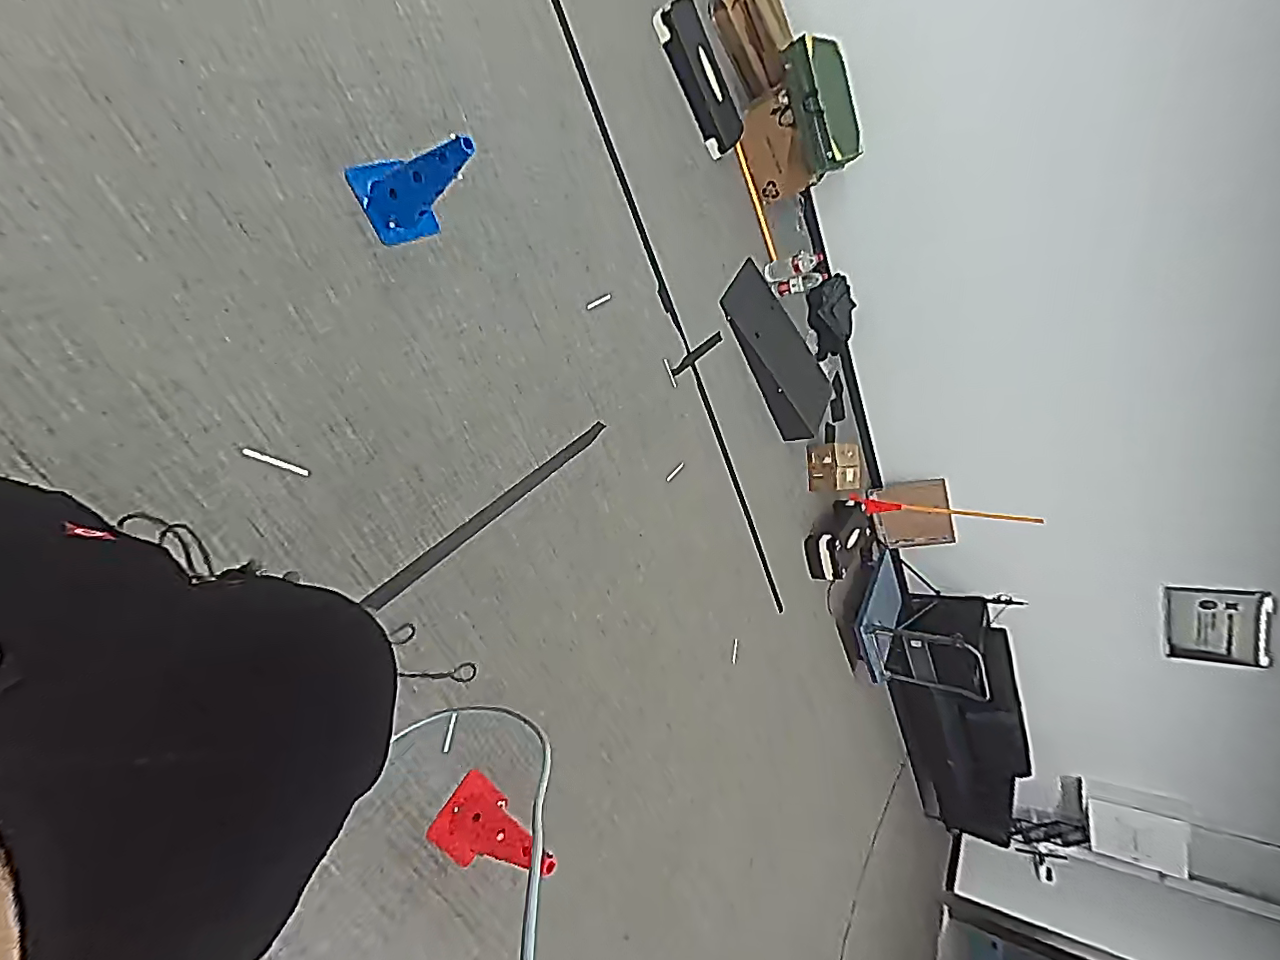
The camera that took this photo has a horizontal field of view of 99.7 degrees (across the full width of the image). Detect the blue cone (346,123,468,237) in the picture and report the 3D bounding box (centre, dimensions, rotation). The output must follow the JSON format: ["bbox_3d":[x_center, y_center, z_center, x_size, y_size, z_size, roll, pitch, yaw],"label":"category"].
[{"bbox_3d":[-0.543,-0.772,1.352,0.193,0.380,0.192,-44,119,-43],"label":"blue cone"}]

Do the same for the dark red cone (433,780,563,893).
[{"bbox_3d":[-0.343,0.975,1.420,0.202,0.394,0.201,-53,125,-38],"label":"dark red cone"}]
